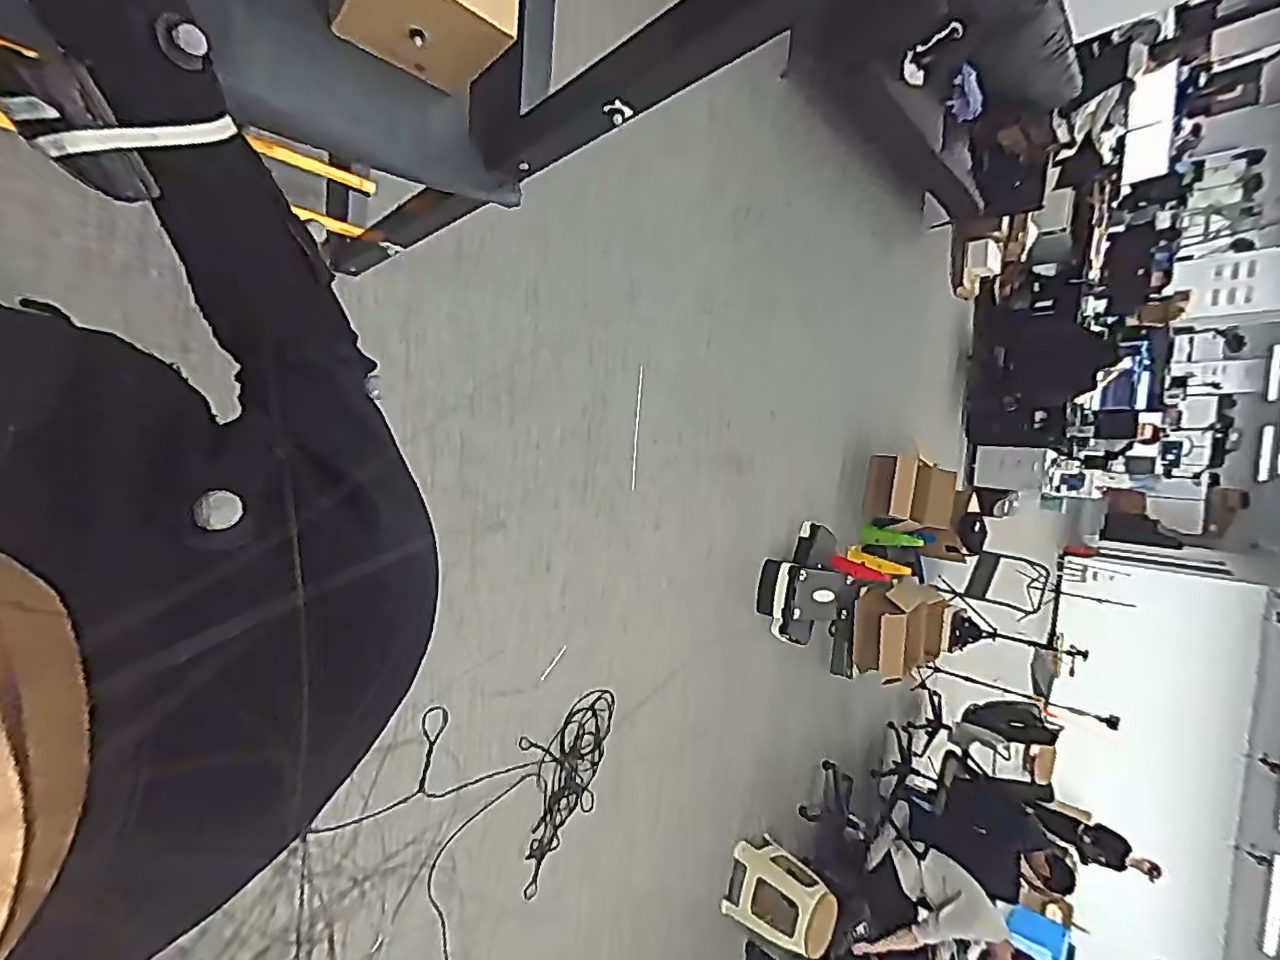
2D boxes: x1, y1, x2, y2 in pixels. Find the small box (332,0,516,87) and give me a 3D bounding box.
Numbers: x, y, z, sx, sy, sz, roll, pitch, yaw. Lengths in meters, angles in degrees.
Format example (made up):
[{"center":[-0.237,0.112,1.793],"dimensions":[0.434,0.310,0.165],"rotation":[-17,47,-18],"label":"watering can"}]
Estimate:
[{"center":[-0.264,-0.636,0.663],"dimensions":[0.168,0.176,0.179],"rotation":[0,94,-45],"label":"small box"}]
